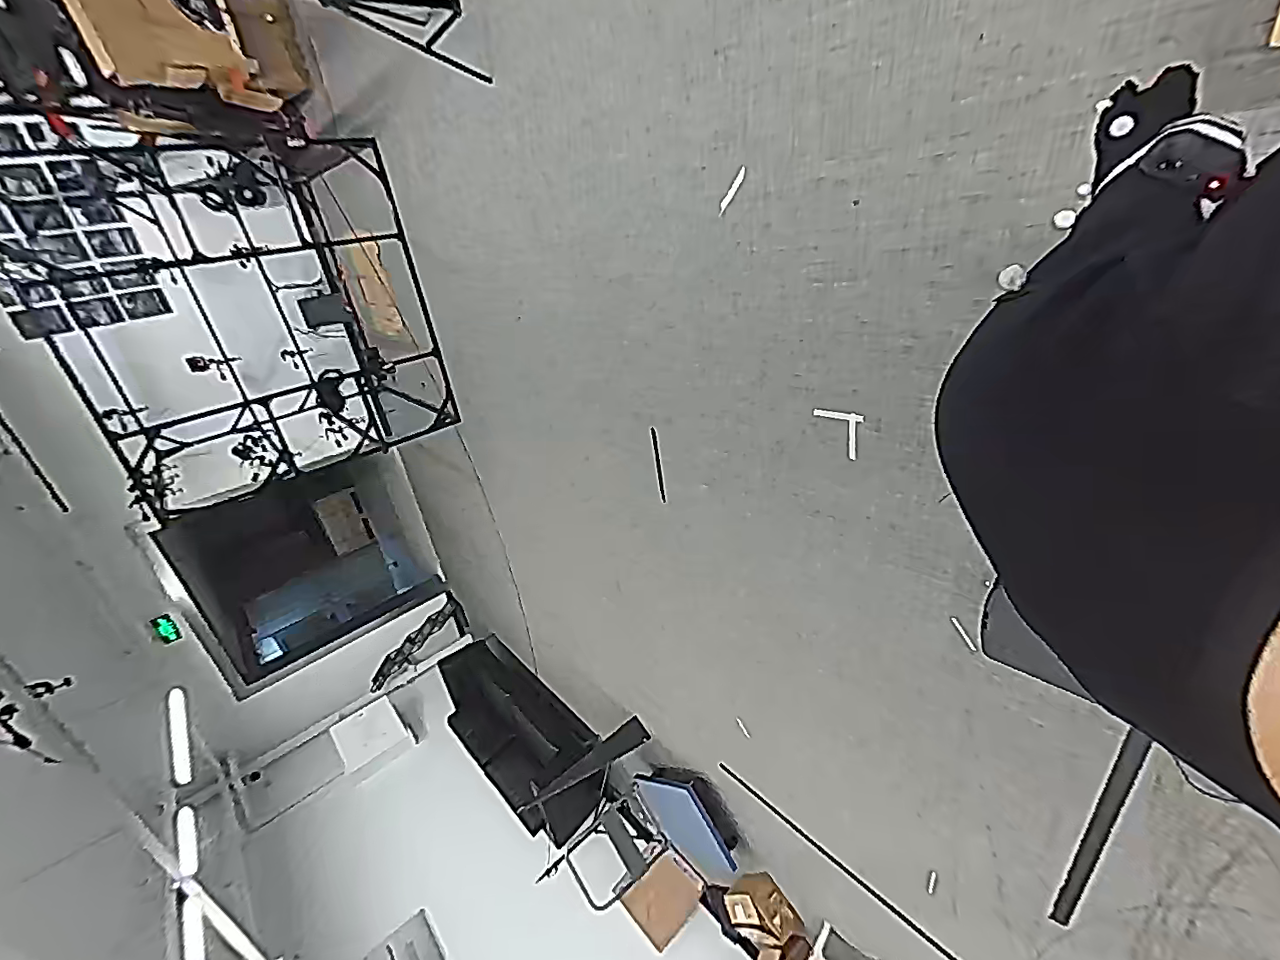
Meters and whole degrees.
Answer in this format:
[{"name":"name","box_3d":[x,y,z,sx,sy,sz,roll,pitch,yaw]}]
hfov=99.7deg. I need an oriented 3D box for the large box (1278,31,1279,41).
[{"name":"large box","box_3d":[1.032,-0.704,0.572,0.408,0.320,0.320,20,129,45]}]
